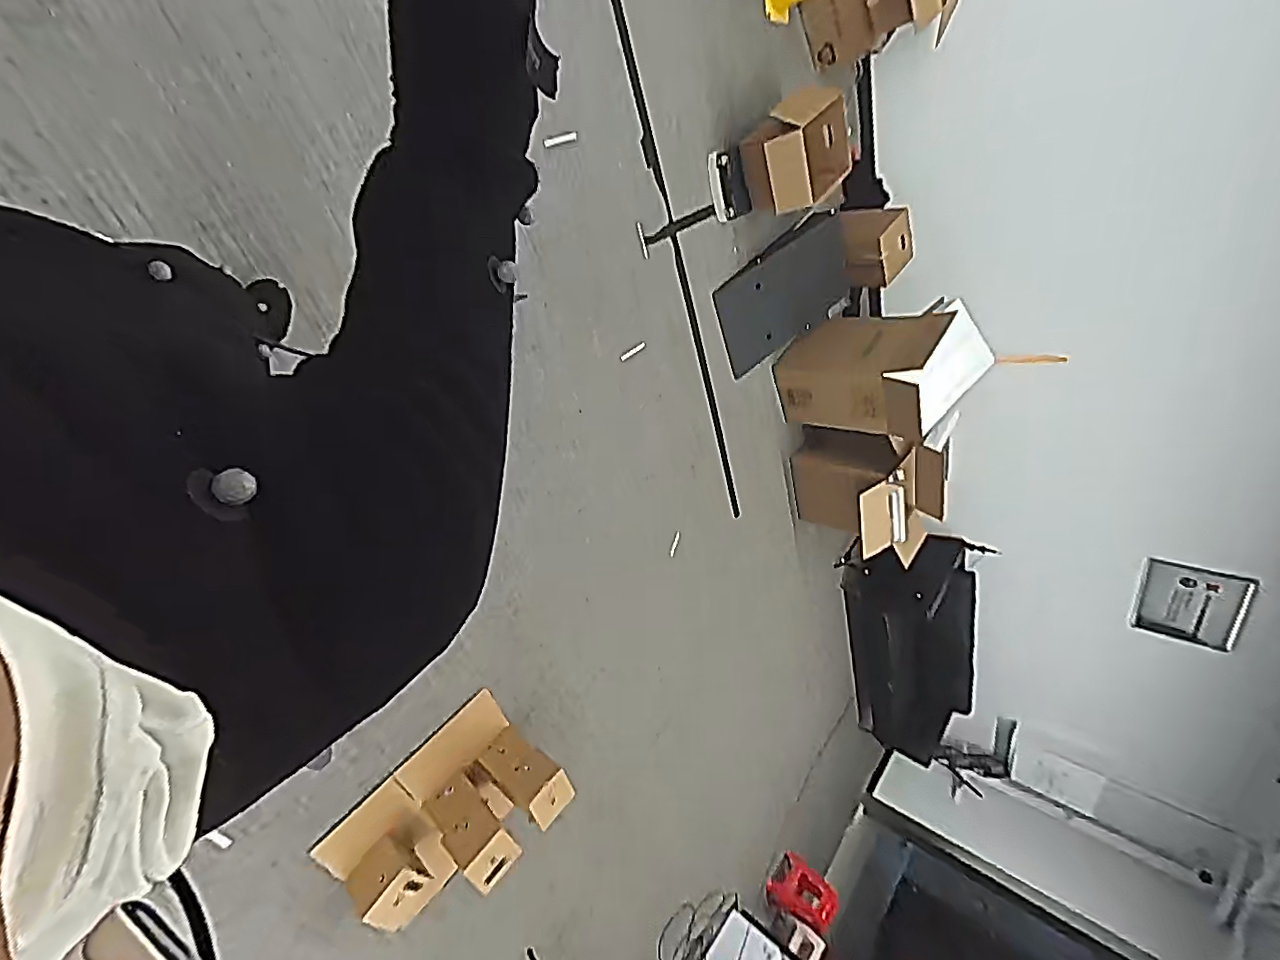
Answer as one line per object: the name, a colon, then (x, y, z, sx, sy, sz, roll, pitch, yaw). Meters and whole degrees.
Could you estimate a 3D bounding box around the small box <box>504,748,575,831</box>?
small box: (-0.372, 1.136, 2.001, 0.168, 0.176, 0.179, -38, 126, -35)

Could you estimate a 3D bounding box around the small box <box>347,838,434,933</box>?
small box: (-0.836, 1.346, 1.805, 0.179, 0.176, 0.168, -48, 131, -27)

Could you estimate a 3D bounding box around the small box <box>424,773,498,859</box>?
small box: (-0.652, 1.215, 1.968, 0.168, 0.176, 0.179, -37, 126, -34)

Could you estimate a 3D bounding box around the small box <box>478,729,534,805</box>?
small box: (-0.499, 1.106, 2.102, 0.168, 0.176, 0.179, -39, 126, -34)
